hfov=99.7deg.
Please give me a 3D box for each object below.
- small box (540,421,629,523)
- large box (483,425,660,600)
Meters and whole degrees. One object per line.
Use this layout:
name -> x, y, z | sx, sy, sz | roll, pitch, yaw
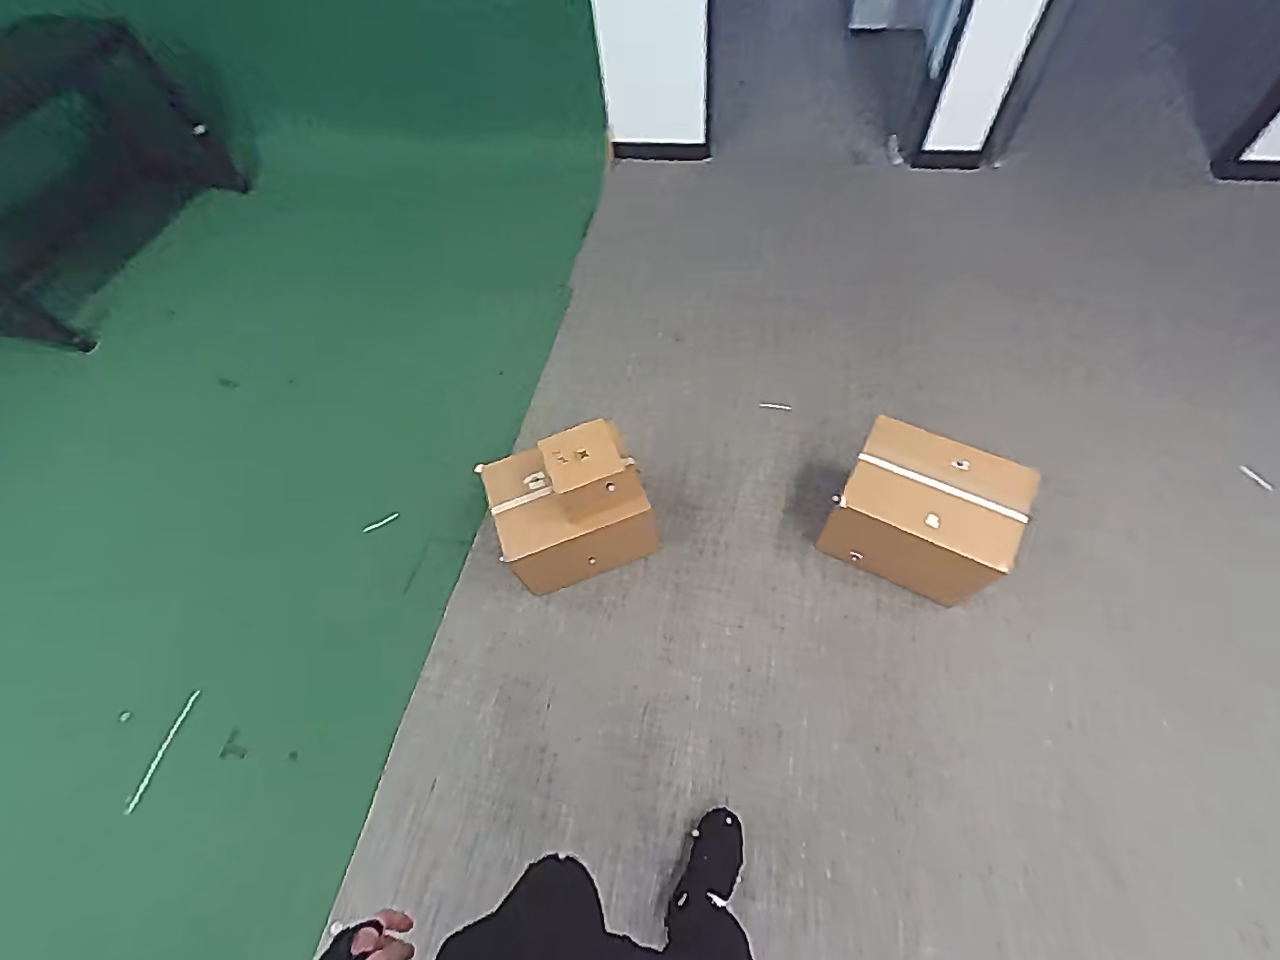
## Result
small box -> -0.134, -0.017, 1.368 | 0.179, 0.176, 0.168 | -21, 61, -5
large box -> -0.189, 0.104, 1.591 | 0.408, 0.320, 0.320 | -21, 60, -5
